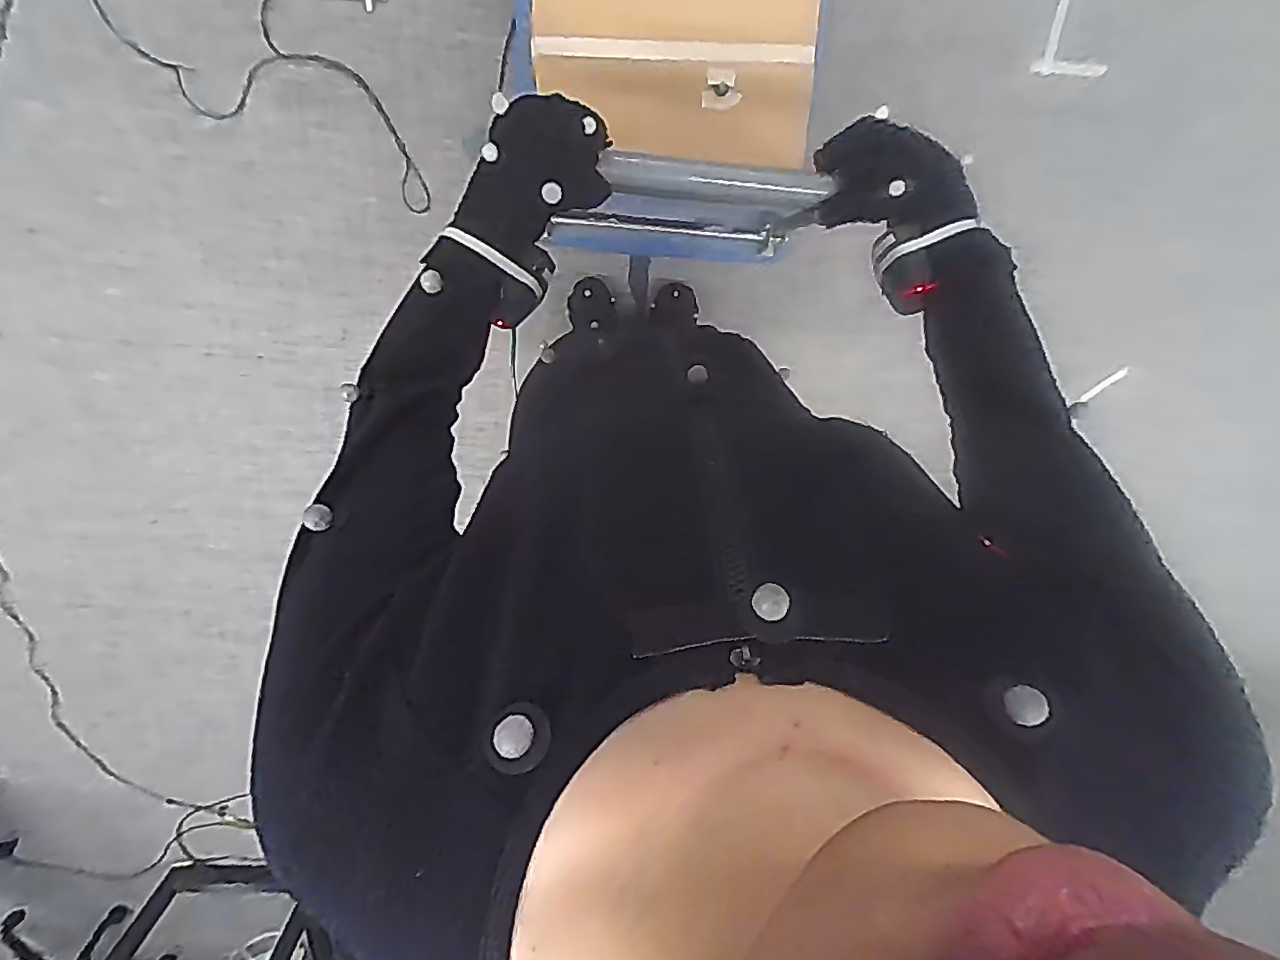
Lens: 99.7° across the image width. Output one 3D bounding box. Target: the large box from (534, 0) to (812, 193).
[{"bbox_3d":[0.038,-0.683,0.924,0.408,0.320,0.320,-1,113,-4],"label":"large box"}]
